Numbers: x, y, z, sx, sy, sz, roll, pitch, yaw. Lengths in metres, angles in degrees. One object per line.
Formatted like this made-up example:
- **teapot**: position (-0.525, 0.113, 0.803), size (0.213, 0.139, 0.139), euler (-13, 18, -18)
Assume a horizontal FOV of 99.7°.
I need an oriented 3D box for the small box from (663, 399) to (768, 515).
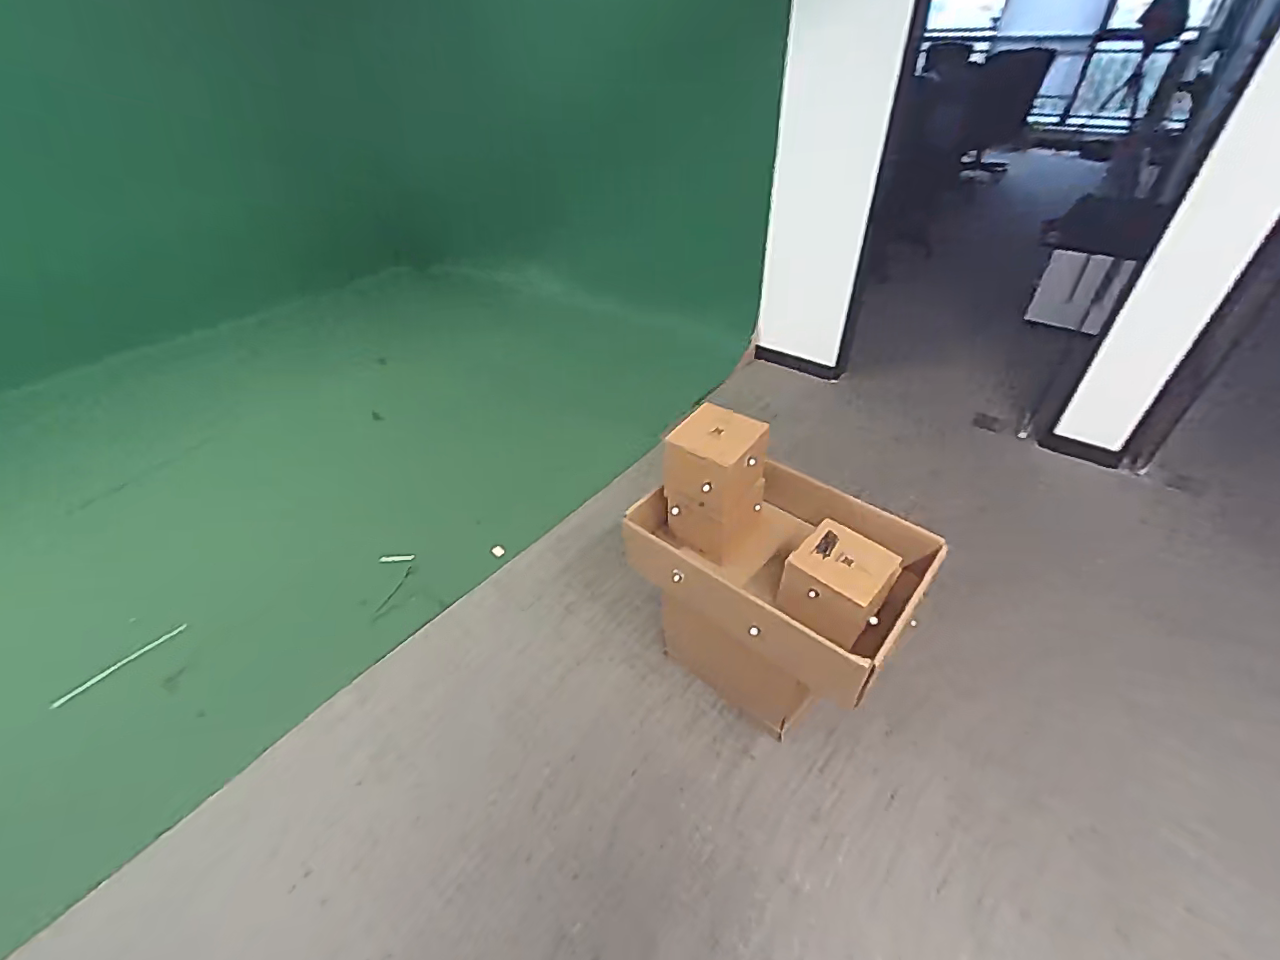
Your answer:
- **small box**: position (0.169, -0.050, 1.218), size (0.168, 0.176, 0.179), euler (26, 49, 28)
